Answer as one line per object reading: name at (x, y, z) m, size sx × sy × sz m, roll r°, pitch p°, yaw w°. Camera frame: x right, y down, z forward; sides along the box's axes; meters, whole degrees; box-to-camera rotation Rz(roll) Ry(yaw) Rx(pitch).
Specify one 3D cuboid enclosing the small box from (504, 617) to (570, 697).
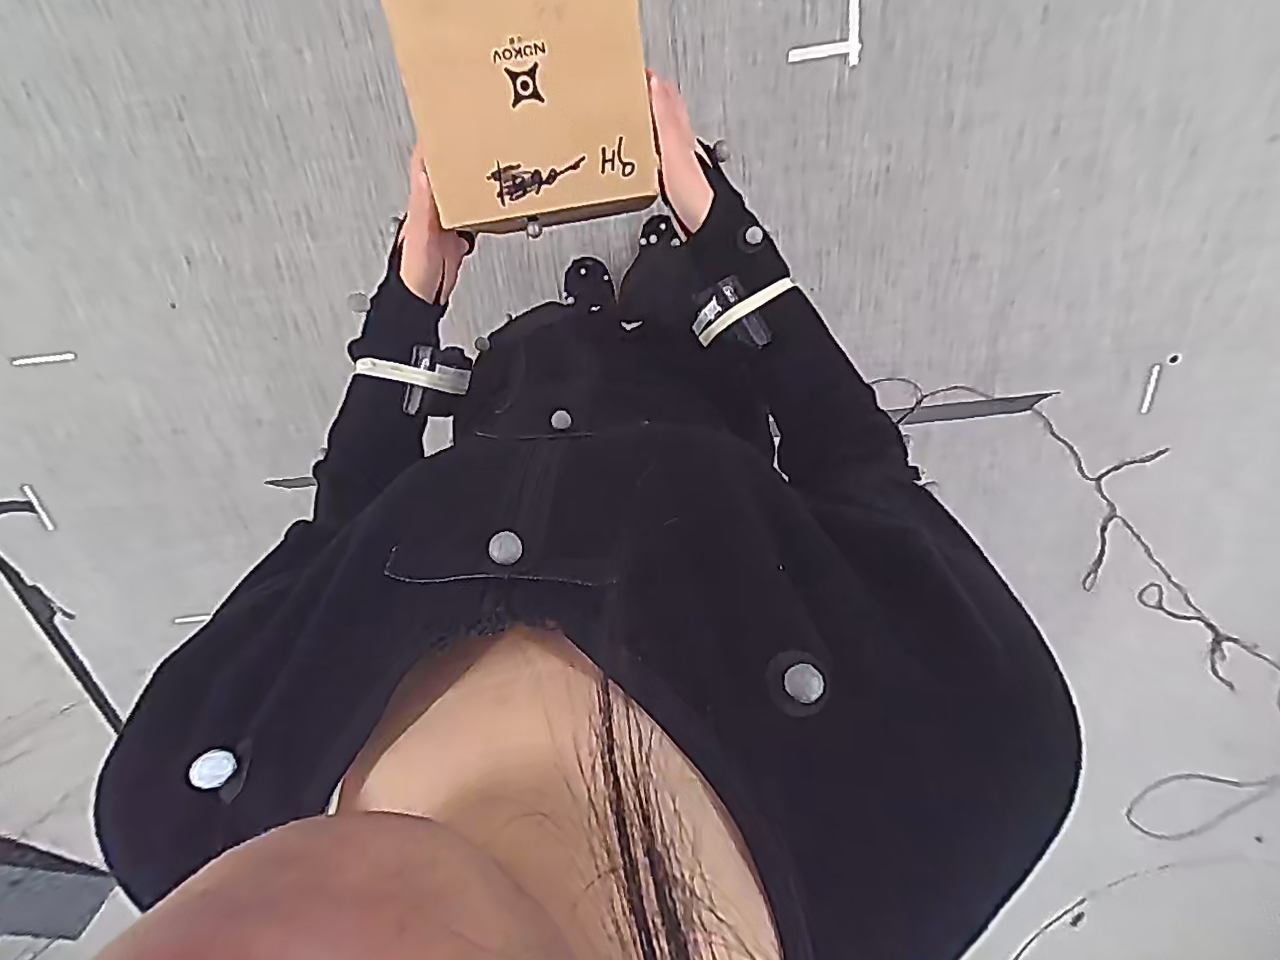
small box at (-0.318, 0.547, 1.689) m, size 0.179 × 0.176 × 0.168 m, roll 8°, pitch 112°, yaw -8°

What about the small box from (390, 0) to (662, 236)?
small box at (-0.078, -0.306, 0.438) m, size 0.168 × 0.176 × 0.179 m, roll -8°, pitch 113°, yaw 2°
